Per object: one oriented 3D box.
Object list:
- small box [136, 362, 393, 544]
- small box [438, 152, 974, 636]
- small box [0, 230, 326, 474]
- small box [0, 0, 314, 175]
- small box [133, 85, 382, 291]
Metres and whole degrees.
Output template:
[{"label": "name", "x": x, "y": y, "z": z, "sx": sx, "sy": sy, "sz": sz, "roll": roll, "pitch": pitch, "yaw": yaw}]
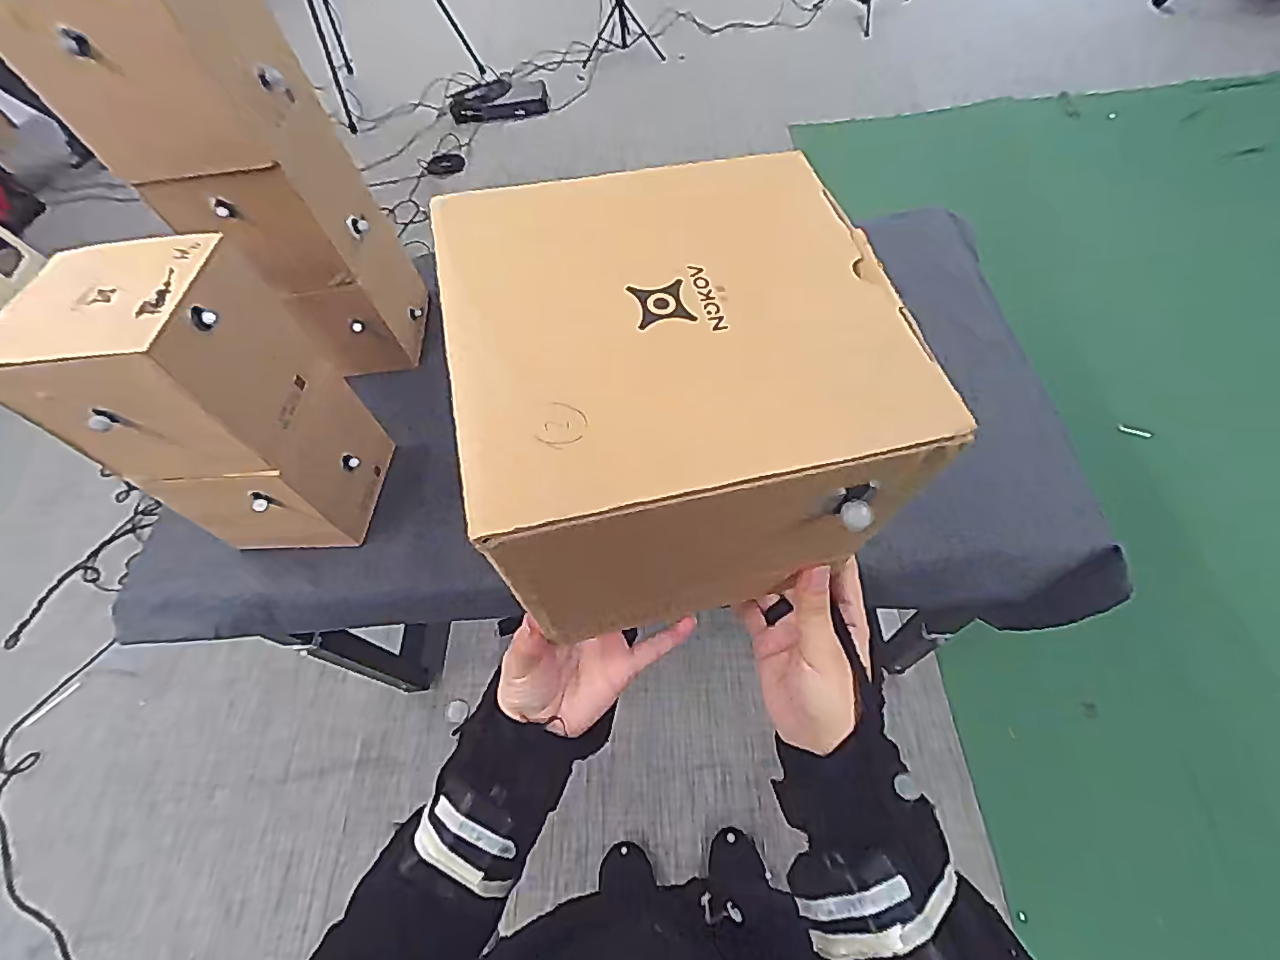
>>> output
[{"label": "small box", "x": -0.445, "y": -0.028, "z": 0.679, "sx": 0.179, "sy": 0.176, "sz": 0.168, "roll": -2, "pitch": 57, "yaw": 6}, {"label": "small box", "x": 0.013, "y": -0.032, "z": 0.282, "sx": 0.179, "sy": 0.176, "sz": 0.168, "roll": -12, "pitch": 63, "yaw": -8}, {"label": "small box", "x": -0.465, "y": -0.119, "z": 0.545, "sx": 0.179, "sy": 0.176, "sz": 0.168, "roll": -5, "pitch": 57, "yaw": 4}, {"label": "small box", "x": -0.481, "y": -0.438, "z": 0.549, "sx": 0.179, "sy": 0.176, "sz": 0.168, "roll": -5, "pitch": 61, "yaw": 3}, {"label": "small box", "x": -0.469, "y": -0.364, "z": 0.696, "sx": 0.179, "sy": 0.176, "sz": 0.168, "roll": -6, "pitch": 61, "yaw": 2}]
